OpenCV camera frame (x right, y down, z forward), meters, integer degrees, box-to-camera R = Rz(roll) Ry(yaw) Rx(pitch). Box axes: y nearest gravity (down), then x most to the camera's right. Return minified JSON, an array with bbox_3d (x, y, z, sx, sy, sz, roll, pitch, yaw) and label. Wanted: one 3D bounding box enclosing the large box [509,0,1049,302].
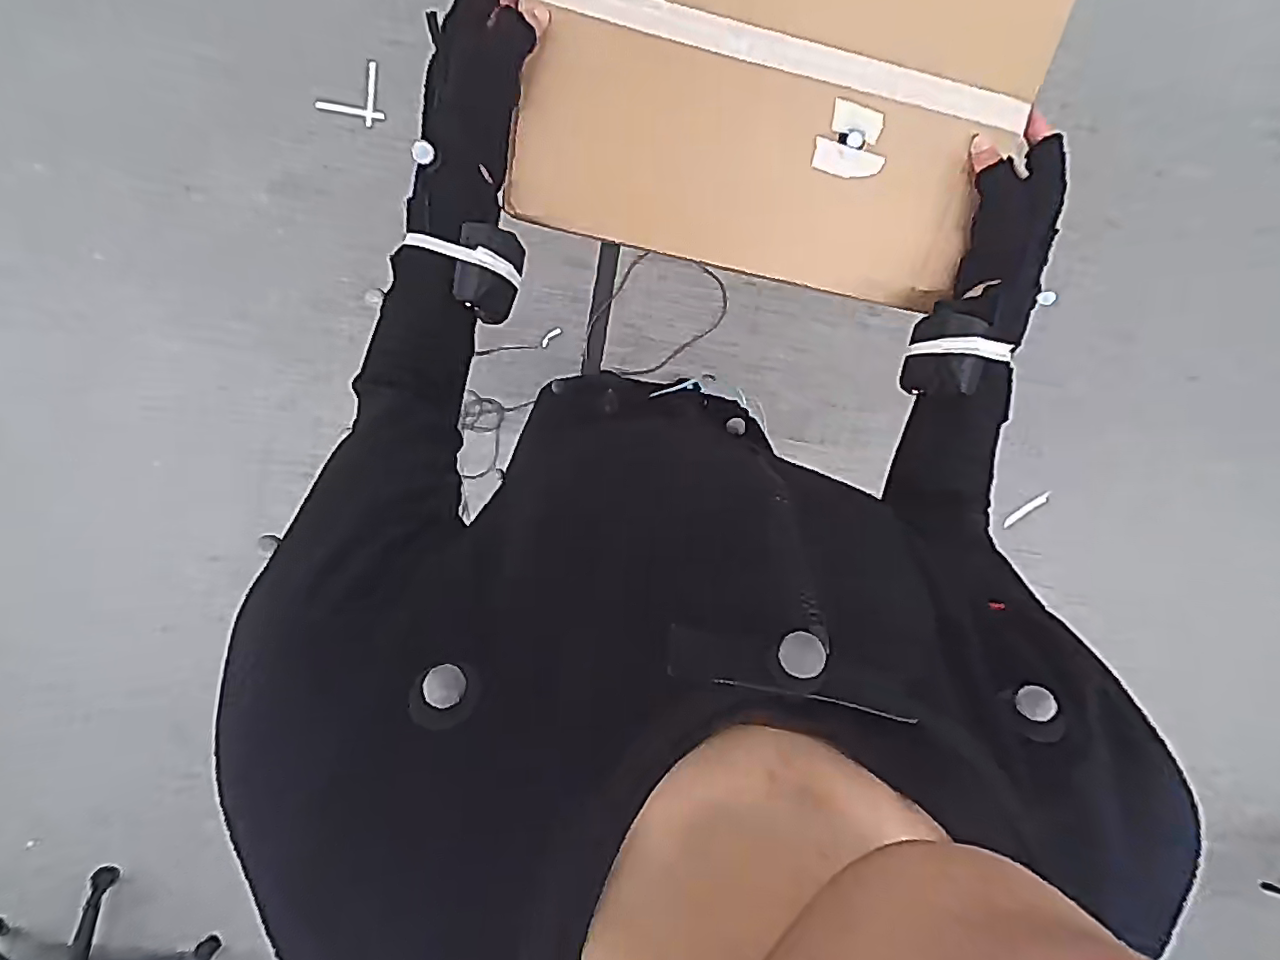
[{"bbox_3d":[0.099,-0.393,0.563,0.408,0.320,0.320,9,114,-8],"label":"large box"}]
